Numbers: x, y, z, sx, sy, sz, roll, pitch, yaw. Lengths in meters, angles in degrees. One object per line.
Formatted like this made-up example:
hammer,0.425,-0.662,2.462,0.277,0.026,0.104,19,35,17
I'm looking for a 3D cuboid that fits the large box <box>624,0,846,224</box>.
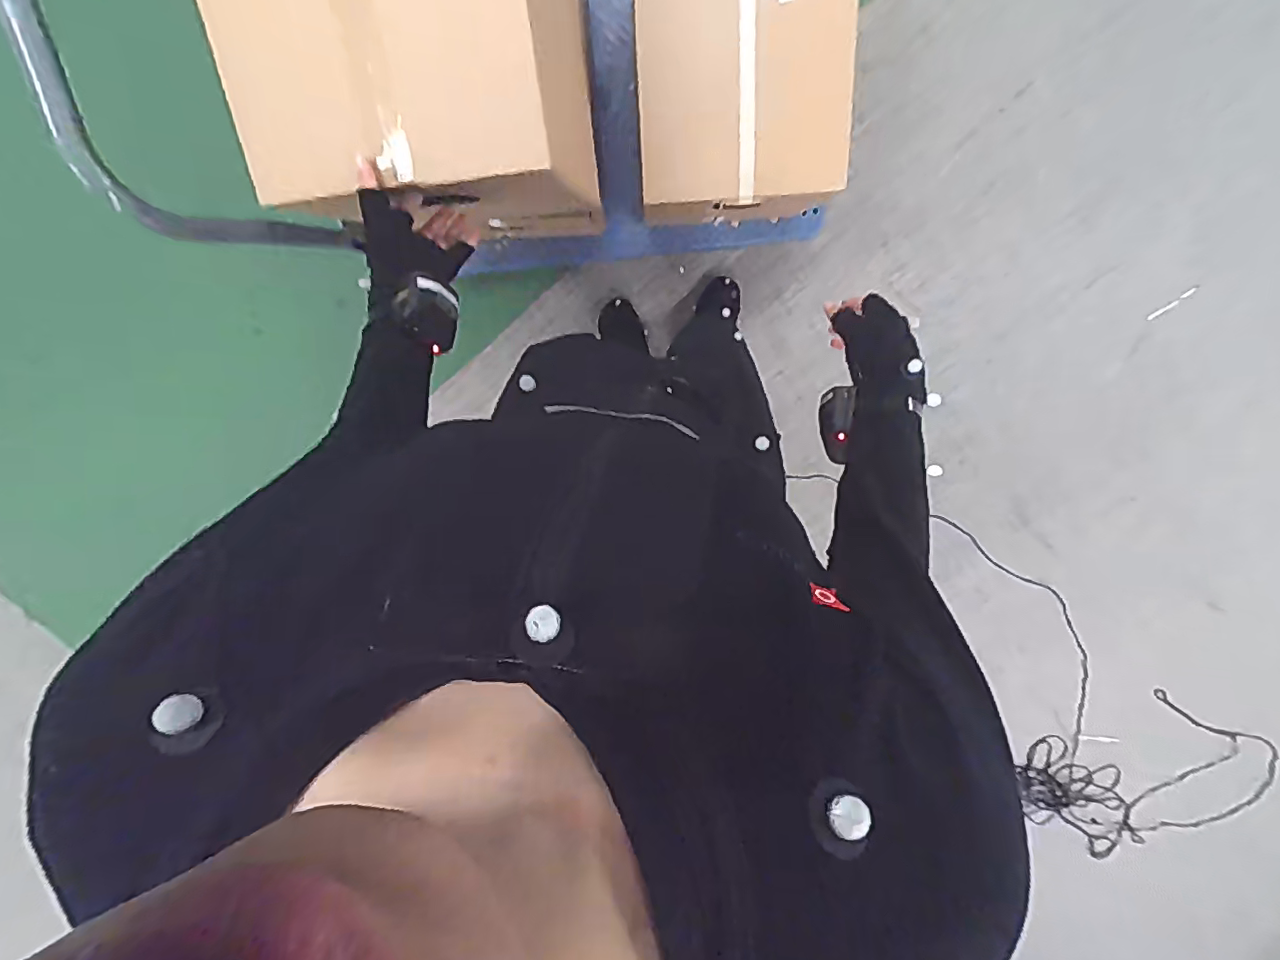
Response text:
large box,0.143,-0.677,0.908,0.320,0.320,0.408,-3,109,2
